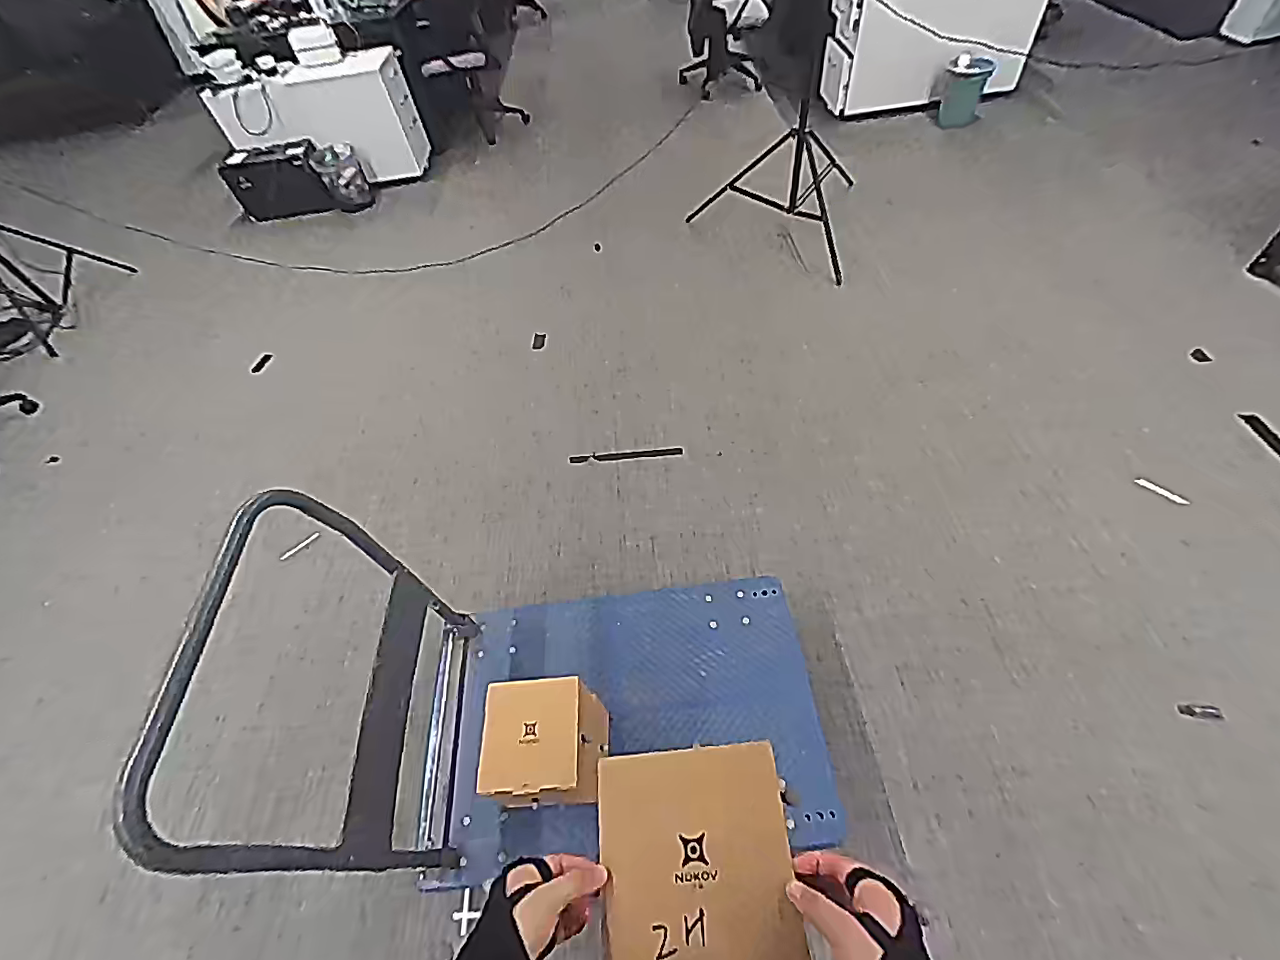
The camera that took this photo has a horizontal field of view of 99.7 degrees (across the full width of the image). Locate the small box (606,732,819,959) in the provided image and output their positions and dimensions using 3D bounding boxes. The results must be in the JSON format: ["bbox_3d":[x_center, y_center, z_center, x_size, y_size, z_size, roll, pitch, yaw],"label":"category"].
[{"bbox_3d":[0.067,0.357,0.523,0.168,0.176,0.179,-10,57,8],"label":"small box"}]

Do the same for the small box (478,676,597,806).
[{"bbox_3d":[-0.172,0.467,0.962,0.168,0.176,0.179,-6,54,3],"label":"small box"}]
